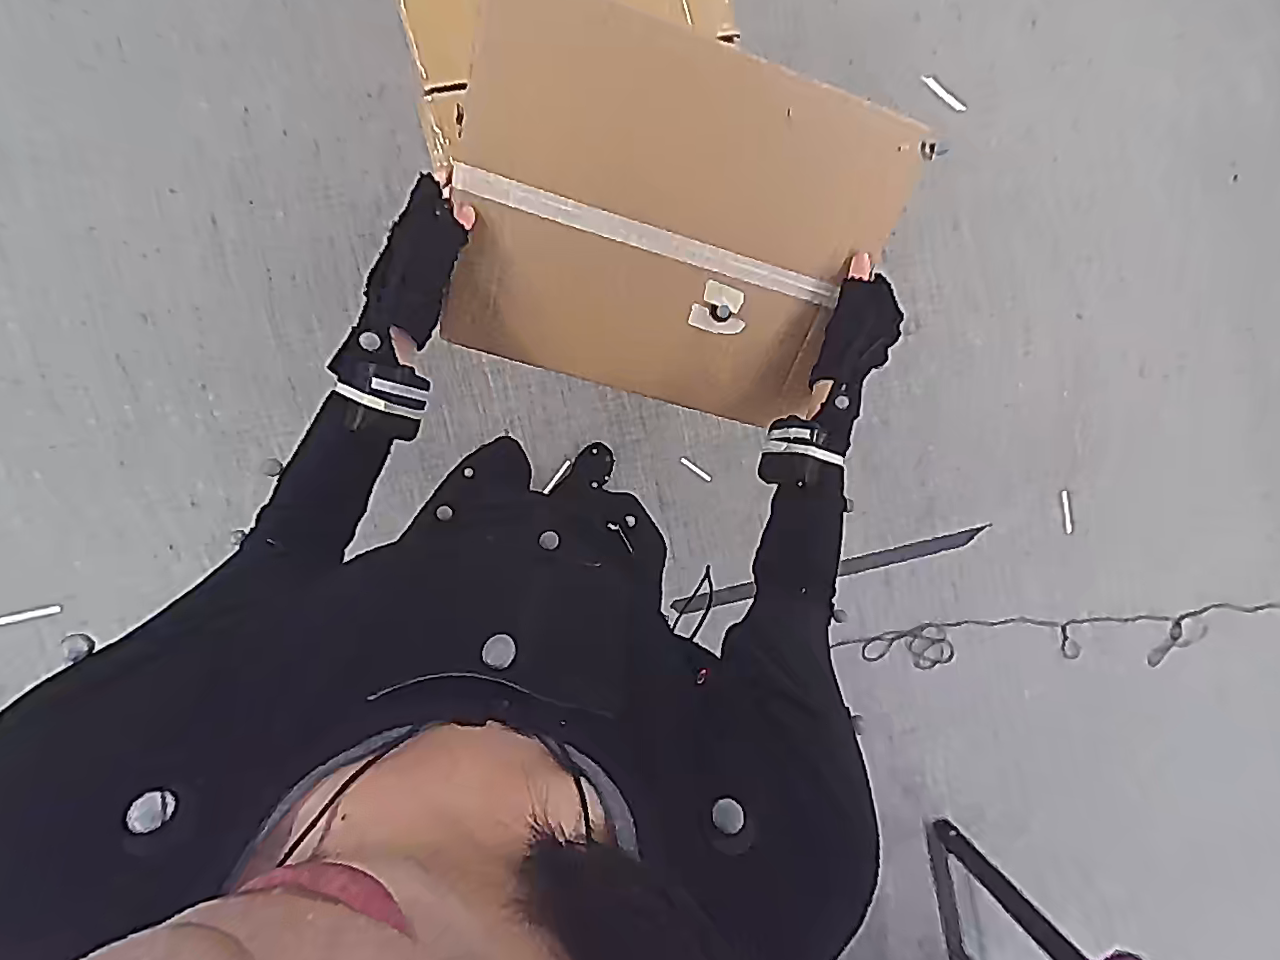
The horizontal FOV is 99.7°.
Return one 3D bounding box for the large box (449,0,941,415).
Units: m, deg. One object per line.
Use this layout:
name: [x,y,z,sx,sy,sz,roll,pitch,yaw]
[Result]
large box: [0.025,-0.314,0.636,0.408,0.320,0.320,12,120,-11]
